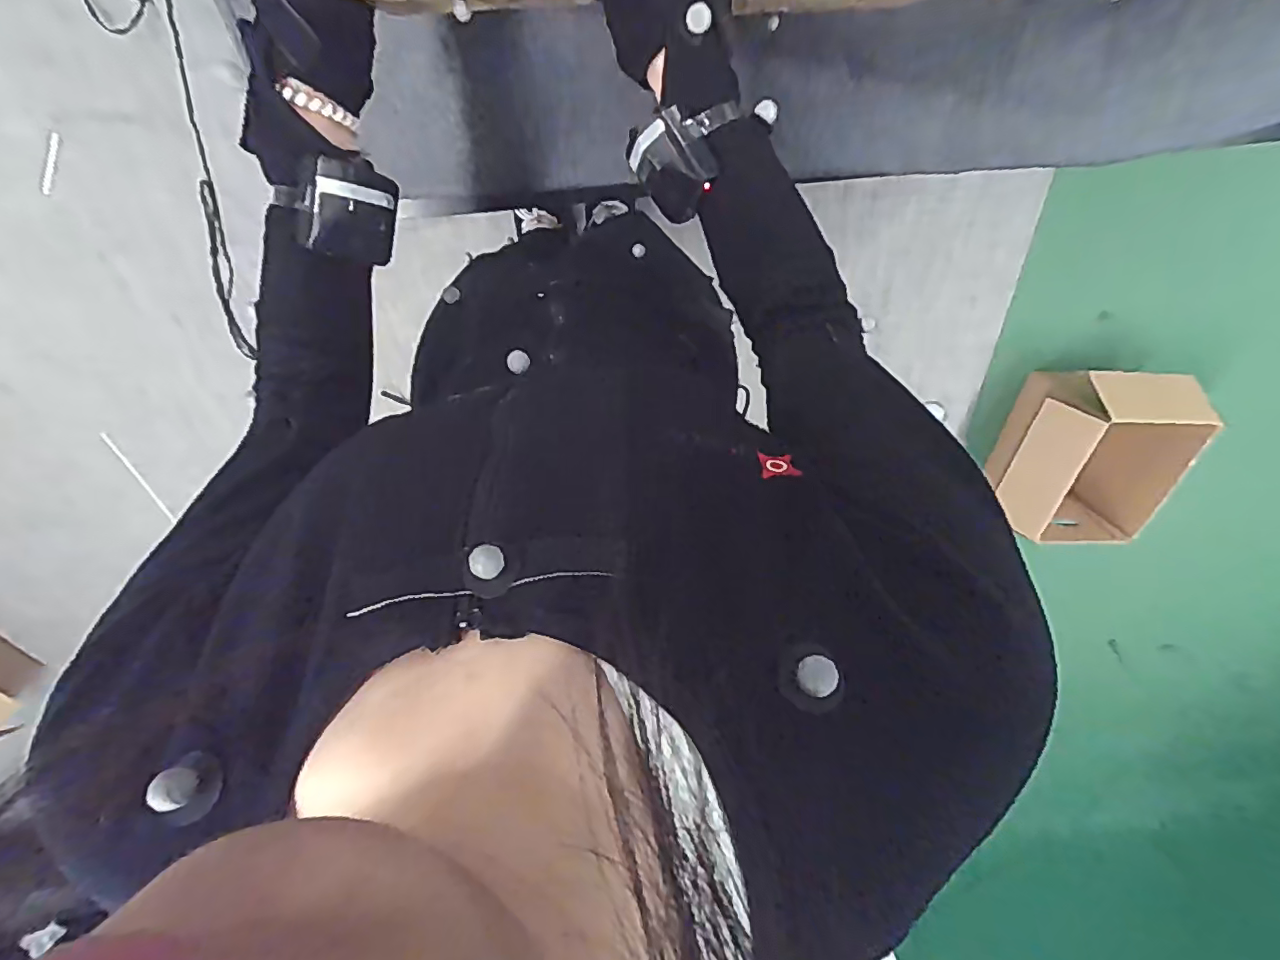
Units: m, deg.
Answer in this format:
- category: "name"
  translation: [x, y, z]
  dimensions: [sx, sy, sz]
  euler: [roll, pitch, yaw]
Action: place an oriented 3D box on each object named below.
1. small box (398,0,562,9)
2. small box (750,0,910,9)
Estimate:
- category: "small box"
  translation: [-0.112, -0.395, 0.305]
  dimensions: [0.168, 0.176, 0.179]
  euler: [-6, 127, -2]
- category: "small box"
  translation: [0.170, -0.464, 0.391]
  dimensions: [0.168, 0.176, 0.179]
  euler: [-5, 125, -1]
